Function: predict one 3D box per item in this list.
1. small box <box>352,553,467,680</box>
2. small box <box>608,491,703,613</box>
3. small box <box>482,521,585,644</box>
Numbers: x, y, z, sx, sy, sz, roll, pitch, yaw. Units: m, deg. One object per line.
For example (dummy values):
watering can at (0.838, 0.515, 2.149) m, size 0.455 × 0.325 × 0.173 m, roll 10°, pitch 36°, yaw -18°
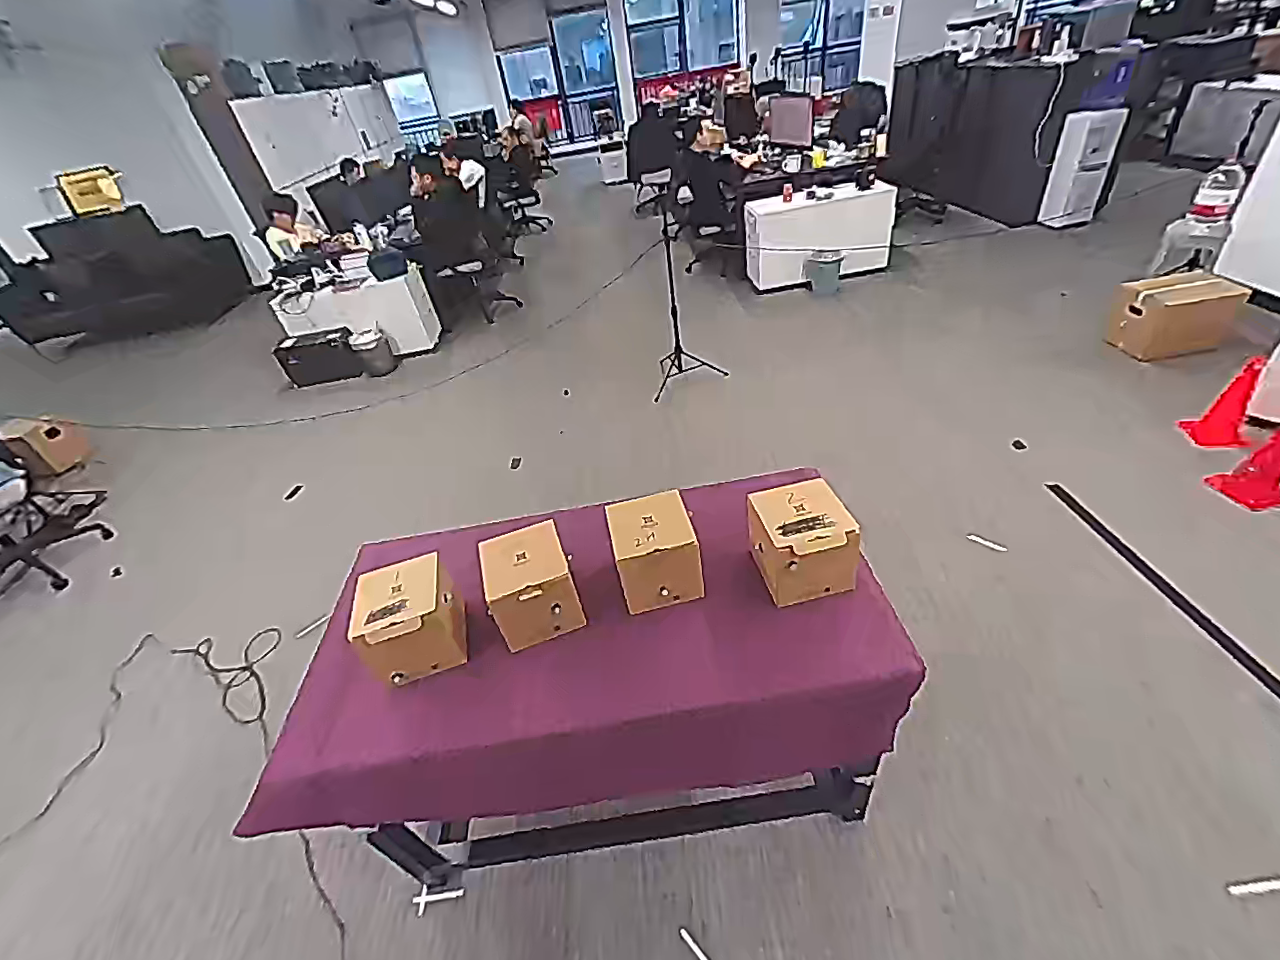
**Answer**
small box at (-0.465, 0.287, 1.120) m, size 0.168 × 0.176 × 0.179 m, roll -17°, pitch 38°, yaw -8°
small box at (0.032, 0.155, 1.167) m, size 0.168 × 0.176 × 0.179 m, roll -13°, pitch 38°, yaw -2°
small box at (-0.224, 0.222, 1.146) m, size 0.168 × 0.176 × 0.179 m, roll -17°, pitch 38°, yaw -9°
